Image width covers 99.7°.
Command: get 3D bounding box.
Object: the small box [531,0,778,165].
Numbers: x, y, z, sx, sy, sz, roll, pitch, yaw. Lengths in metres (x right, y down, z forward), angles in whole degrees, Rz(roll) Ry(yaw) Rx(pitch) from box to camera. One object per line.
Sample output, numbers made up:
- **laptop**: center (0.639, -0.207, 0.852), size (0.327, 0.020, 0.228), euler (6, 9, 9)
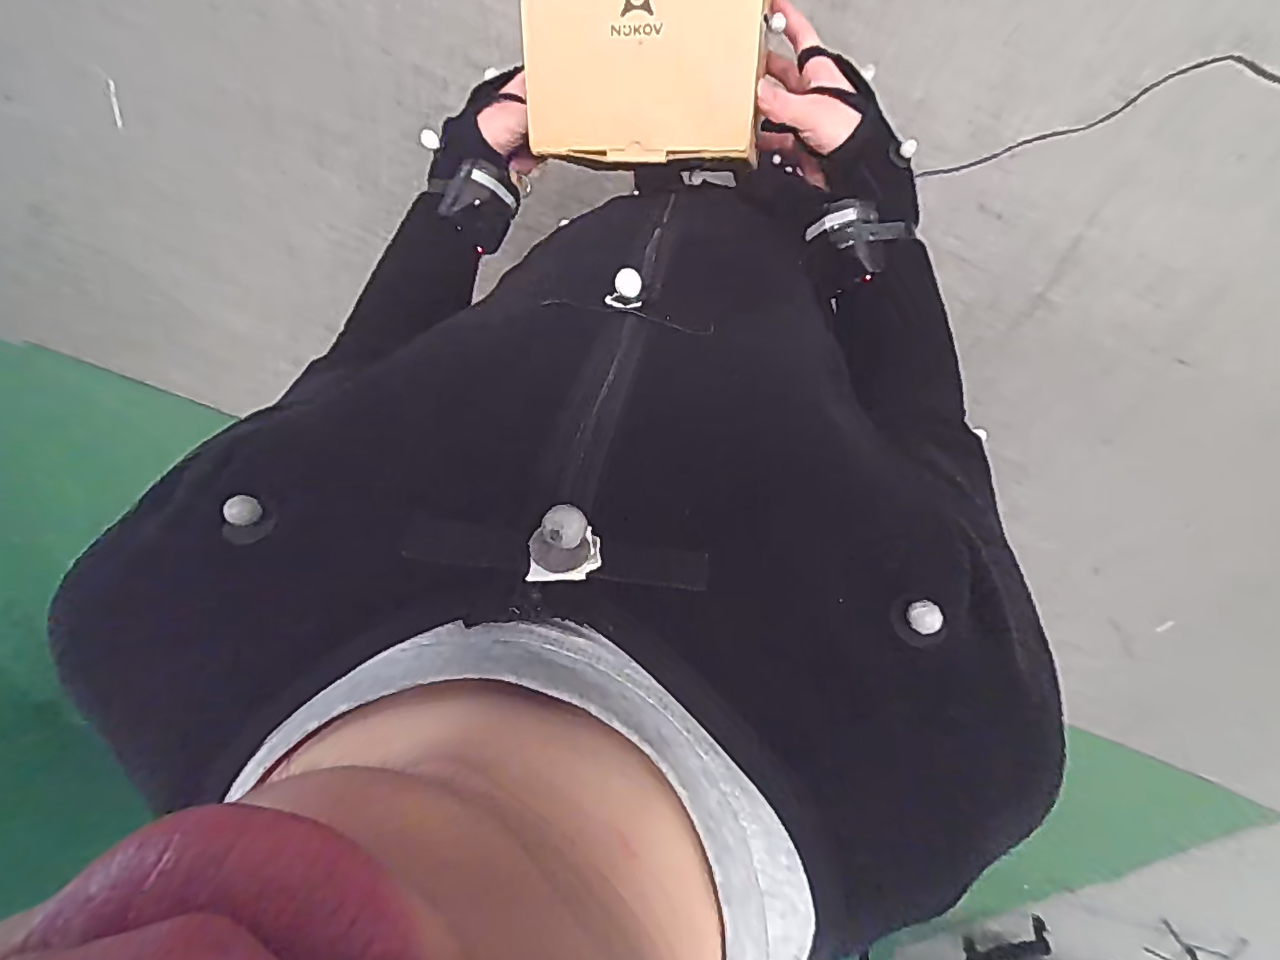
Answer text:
- **small box**: center (0.021, -0.355, 0.430), size (0.168, 0.176, 0.179), euler (5, 116, 10)
